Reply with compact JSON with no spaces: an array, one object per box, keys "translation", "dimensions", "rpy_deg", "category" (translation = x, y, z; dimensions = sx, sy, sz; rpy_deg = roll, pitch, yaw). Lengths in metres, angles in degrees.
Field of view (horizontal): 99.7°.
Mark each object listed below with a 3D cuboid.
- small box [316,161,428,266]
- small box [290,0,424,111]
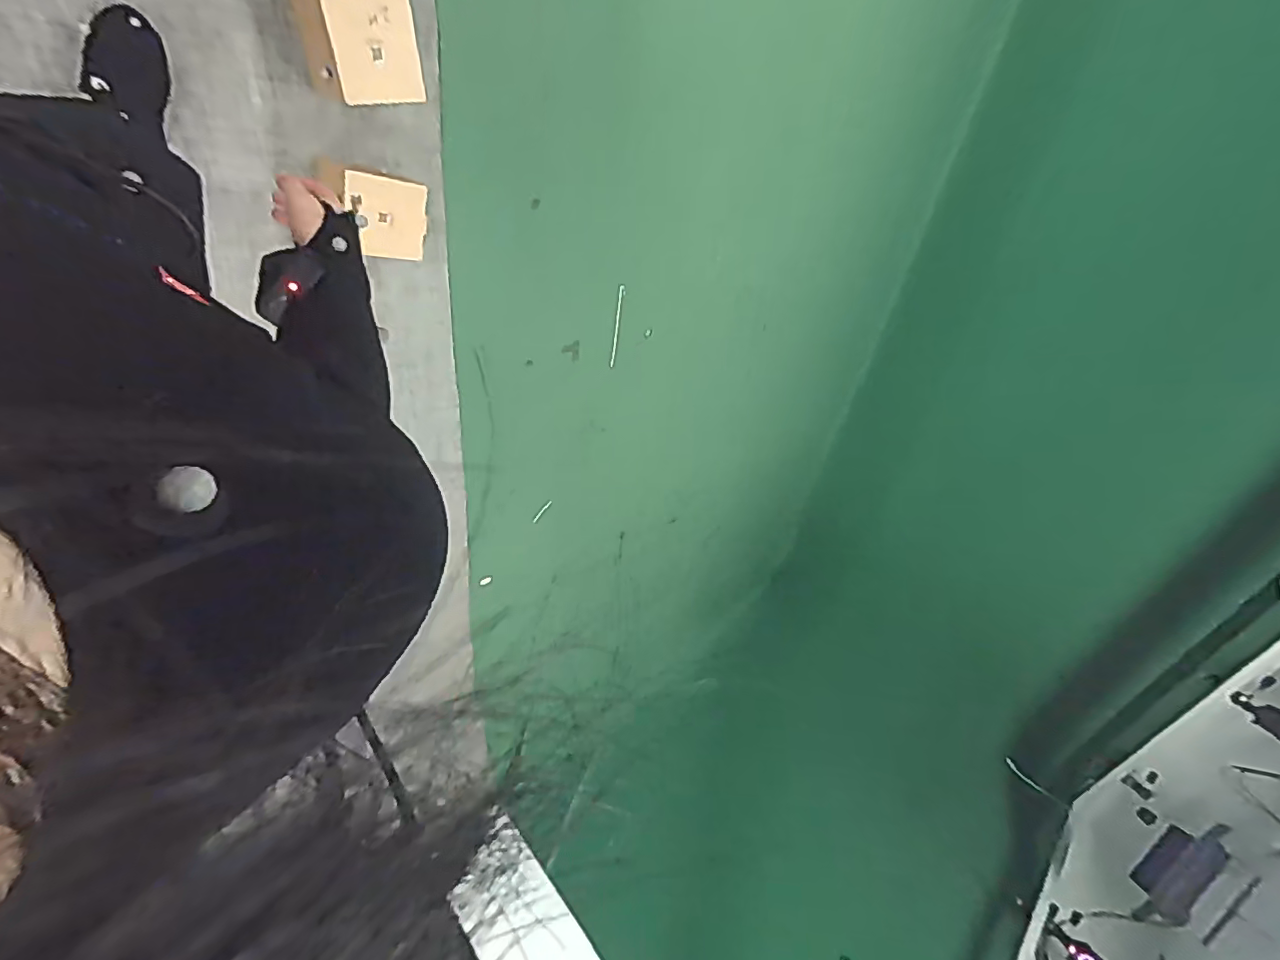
[{"translation":[-0.611,-0.605,1.230],"dimensions":[0.179,0.176,0.168],"rpy_deg":[-13,131,-44],"category":"small box"},{"translation":[-0.557,-0.850,1.072],"dimensions":[0.168,0.176,0.179],"rpy_deg":[-29,140,-33],"category":"small box"}]
